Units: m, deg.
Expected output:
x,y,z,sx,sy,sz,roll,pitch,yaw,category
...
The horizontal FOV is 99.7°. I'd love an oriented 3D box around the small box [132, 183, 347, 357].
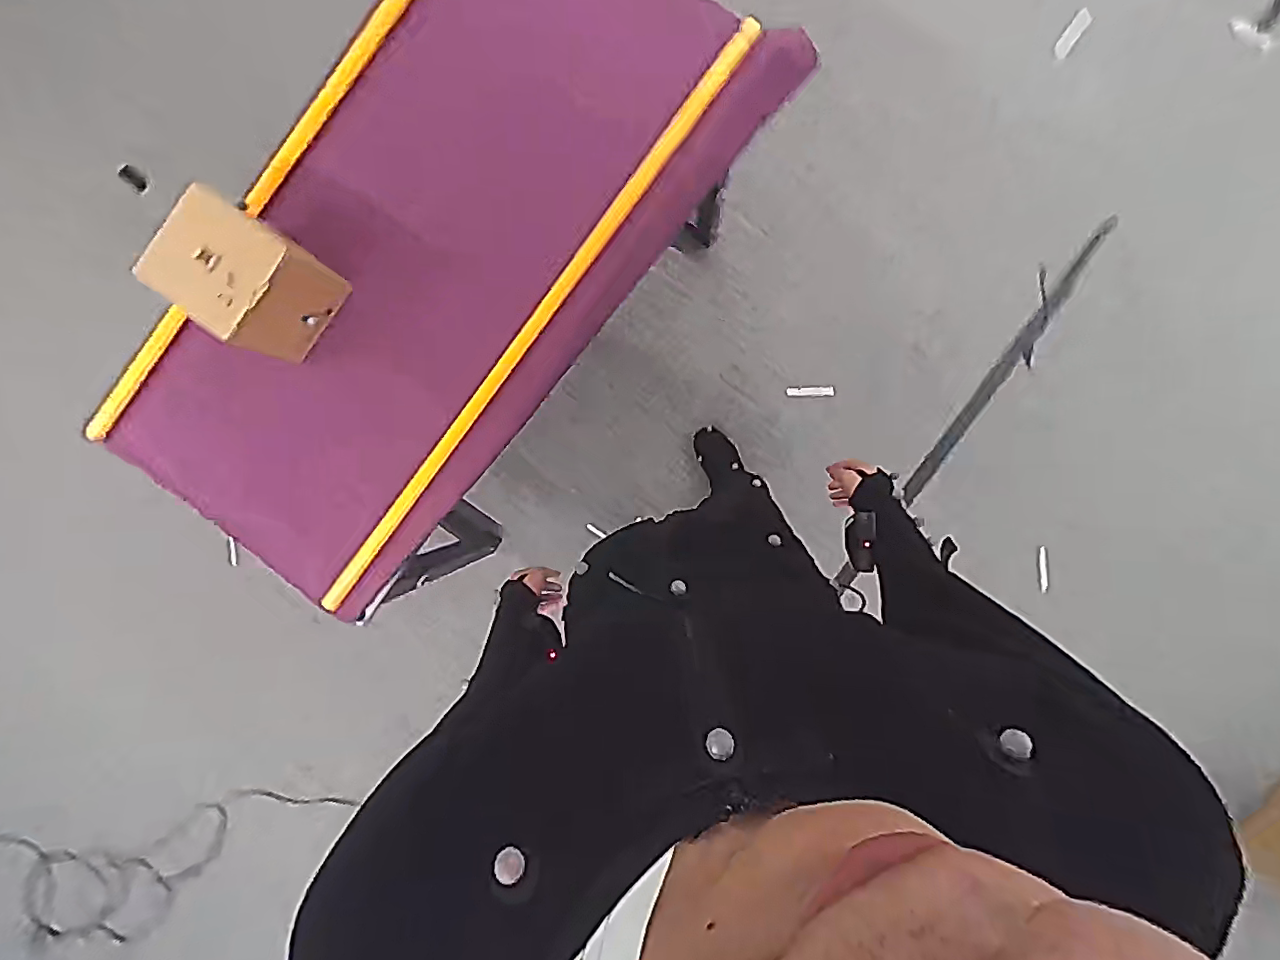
x,y,z,sx,sy,sz,roll,pitch,yaw,category
-0.620,-0.317,0.860,0.179,0.176,0.168,36,92,0,small box
